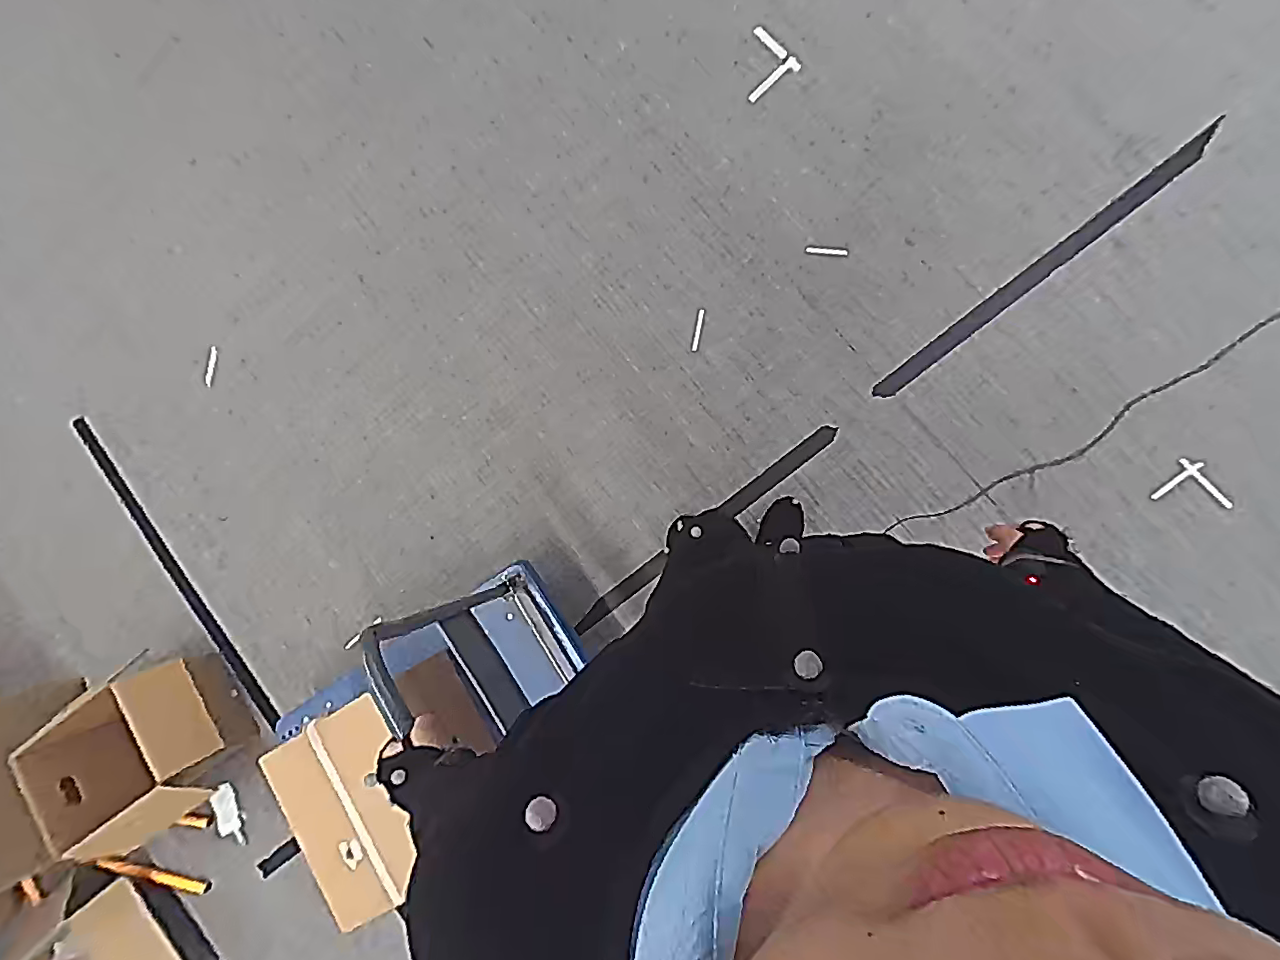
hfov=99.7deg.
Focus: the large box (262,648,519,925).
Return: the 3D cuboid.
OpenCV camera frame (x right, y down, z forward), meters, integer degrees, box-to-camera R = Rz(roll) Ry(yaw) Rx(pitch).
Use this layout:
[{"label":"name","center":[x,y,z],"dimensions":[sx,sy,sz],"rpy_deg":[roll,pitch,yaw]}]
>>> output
[{"label":"large box","center":[-0.553,0.675,1.261],"dimensions":[0.320,0.320,0.408],"rpy_deg":[-32,85,8]}]
